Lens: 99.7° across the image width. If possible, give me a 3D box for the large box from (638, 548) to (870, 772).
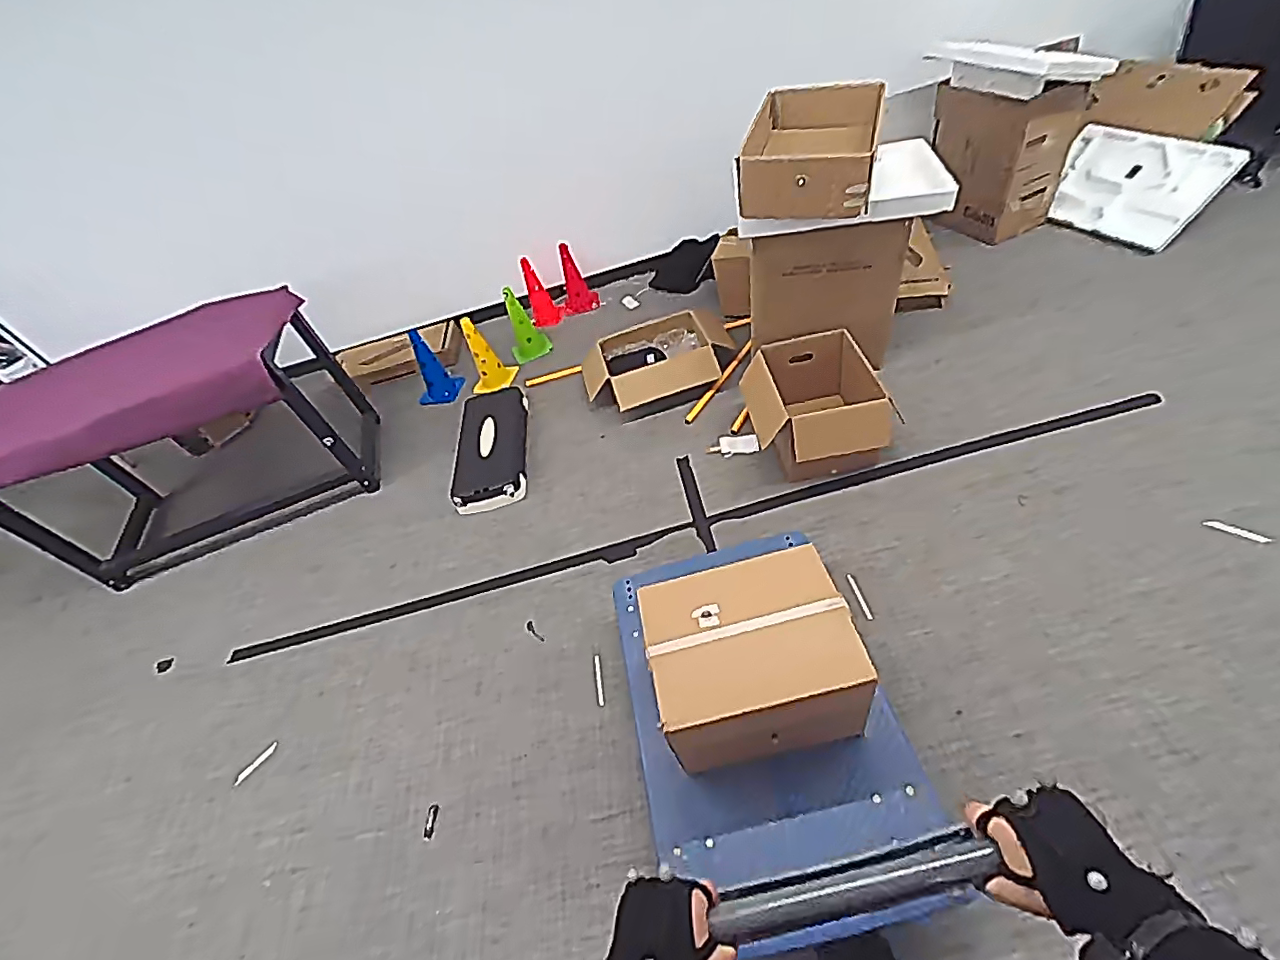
[{"bbox_3d":[0.245,0.409,1.214,0.408,0.320,0.320,-16,46,3],"label":"large box"}]
